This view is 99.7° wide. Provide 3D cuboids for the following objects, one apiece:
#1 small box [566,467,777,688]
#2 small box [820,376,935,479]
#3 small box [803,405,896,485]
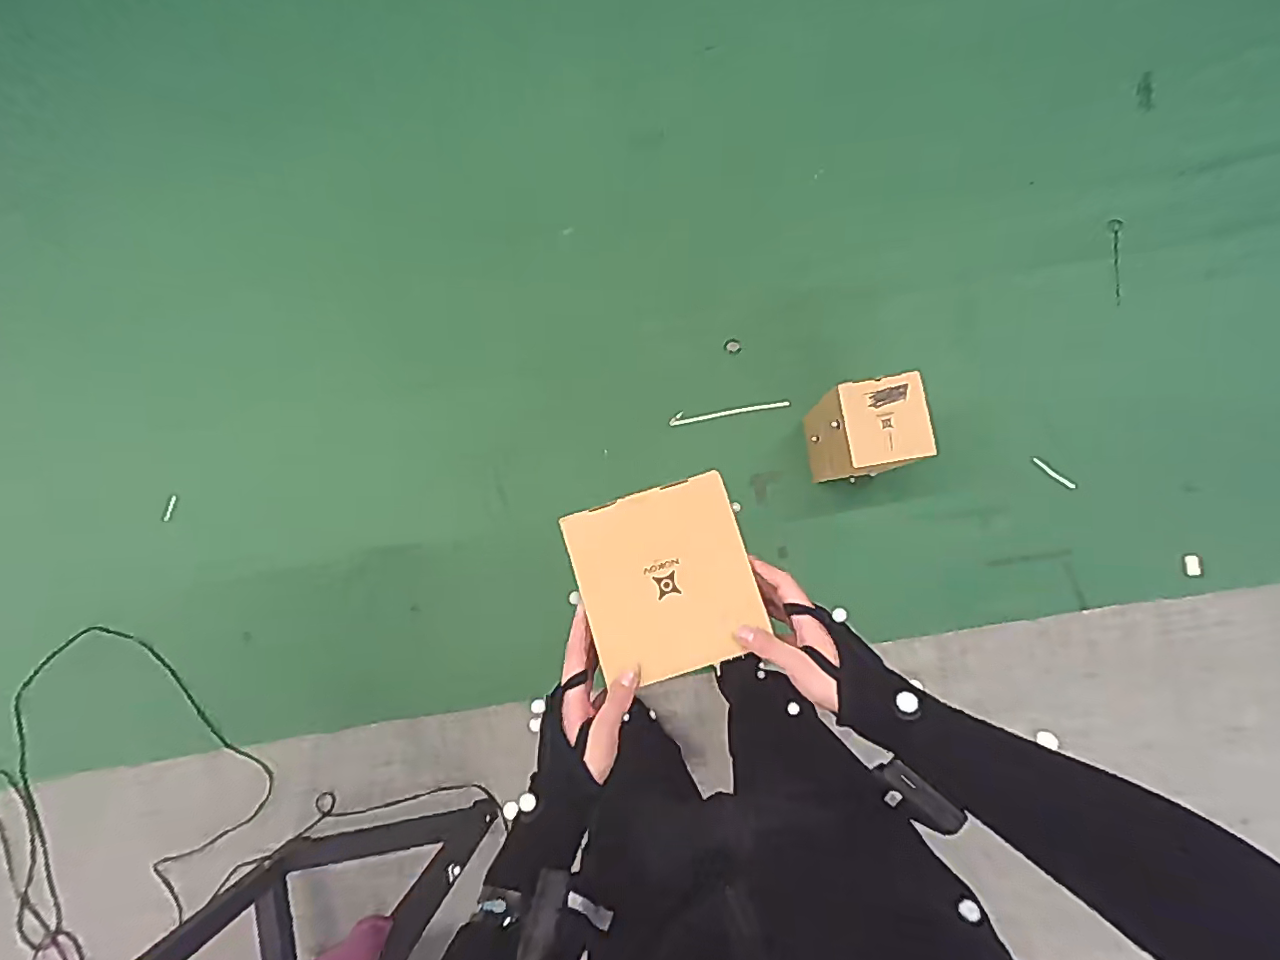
[{"bbox_3d":[0.031,0.103,0.594,0.168,0.176,0.179,-17,80,-2],"label":"small box"},{"bbox_3d":[0.499,-0.106,1.164,0.168,0.176,0.179,-9,84,3],"label":"small box"},{"bbox_3d":[0.509,-0.090,1.327,0.168,0.176,0.179,-8,84,3],"label":"small box"}]
